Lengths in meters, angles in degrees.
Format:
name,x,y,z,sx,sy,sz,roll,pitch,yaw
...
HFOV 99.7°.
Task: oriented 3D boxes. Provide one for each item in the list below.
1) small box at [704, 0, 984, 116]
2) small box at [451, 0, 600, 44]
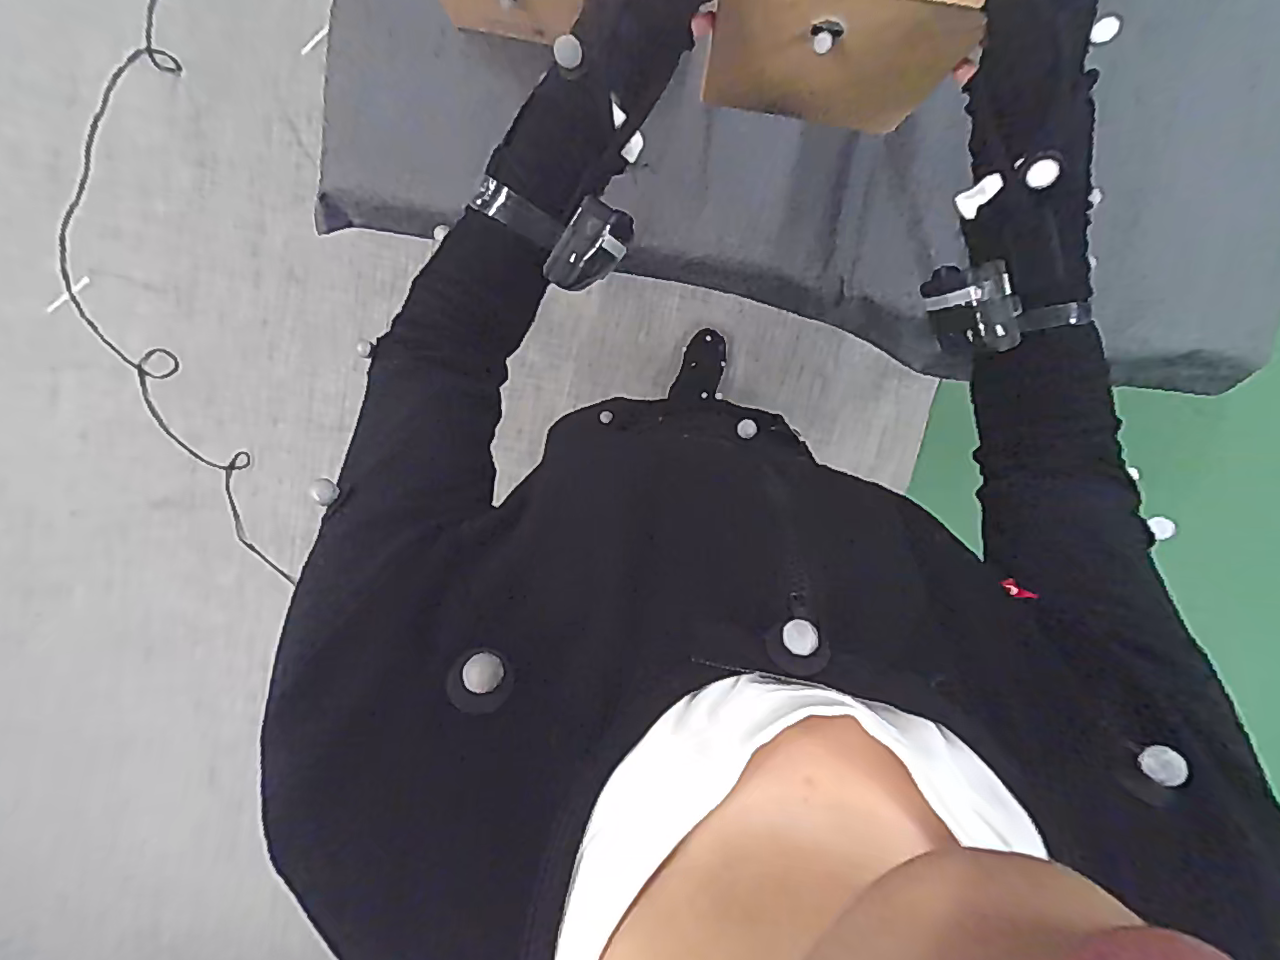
name,x,y,z,sx,sy,sz,roll,pitch,yaw
small box,0.148,-0.398,0.392,0.179,0.176,0.168,8,101,-1
small box,-0.122,-0.585,0.538,0.168,0.176,0.179,9,101,-2
